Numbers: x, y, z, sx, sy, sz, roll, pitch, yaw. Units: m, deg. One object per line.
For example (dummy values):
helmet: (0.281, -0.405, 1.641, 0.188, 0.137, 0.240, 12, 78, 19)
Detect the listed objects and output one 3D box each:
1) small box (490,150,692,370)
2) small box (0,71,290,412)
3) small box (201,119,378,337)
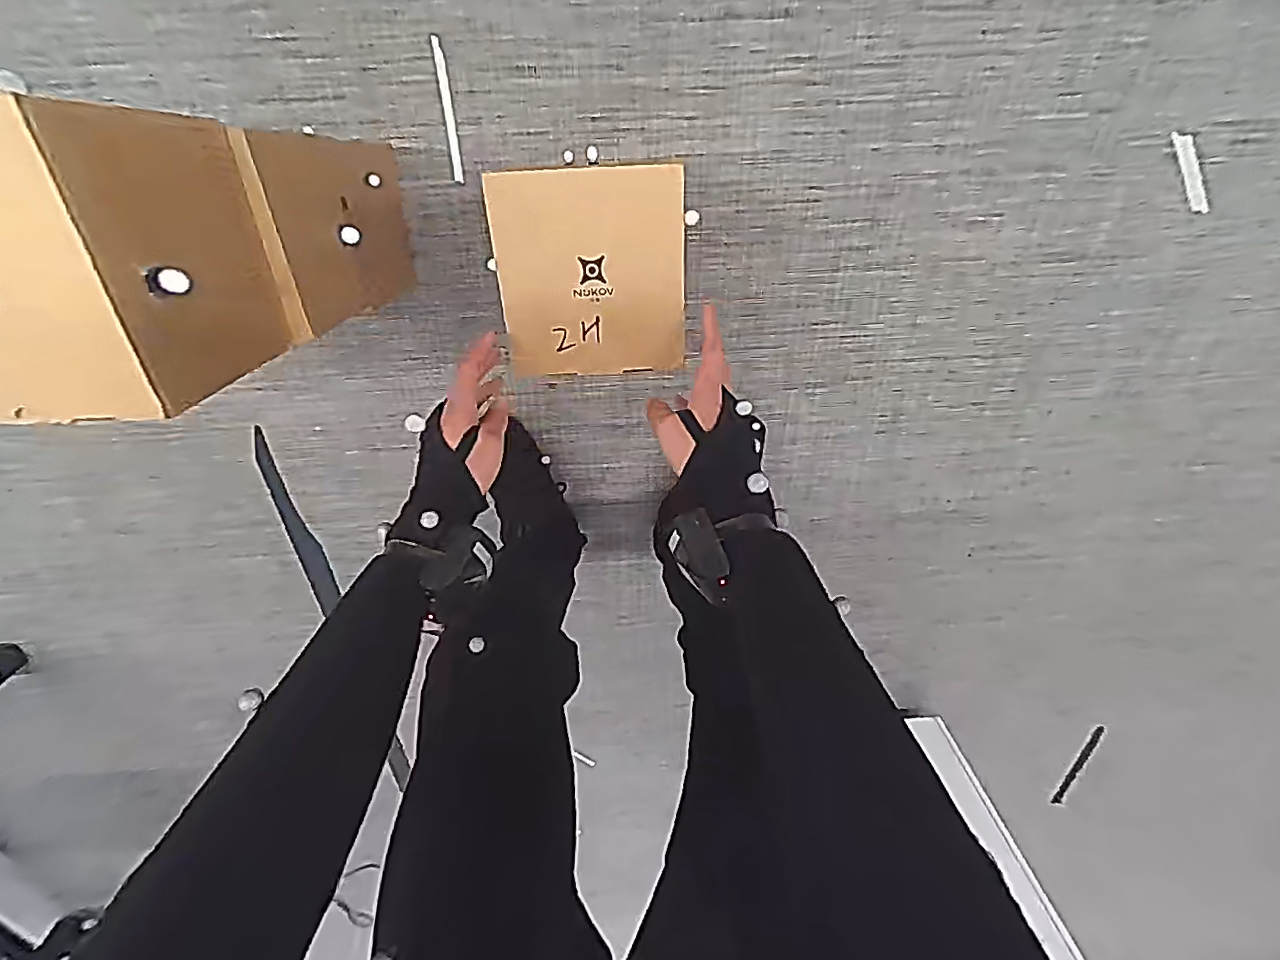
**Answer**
small box: (-0.041, -0.223, 0.541, 0.168, 0.176, 0.179, -3, 121, -1)
small box: (-0.382, -0.158, 0.366, 0.168, 0.176, 0.179, -2, 121, -3)
small box: (-0.381, -0.235, 0.510, 0.179, 0.176, 0.168, -4, 121, -3)
